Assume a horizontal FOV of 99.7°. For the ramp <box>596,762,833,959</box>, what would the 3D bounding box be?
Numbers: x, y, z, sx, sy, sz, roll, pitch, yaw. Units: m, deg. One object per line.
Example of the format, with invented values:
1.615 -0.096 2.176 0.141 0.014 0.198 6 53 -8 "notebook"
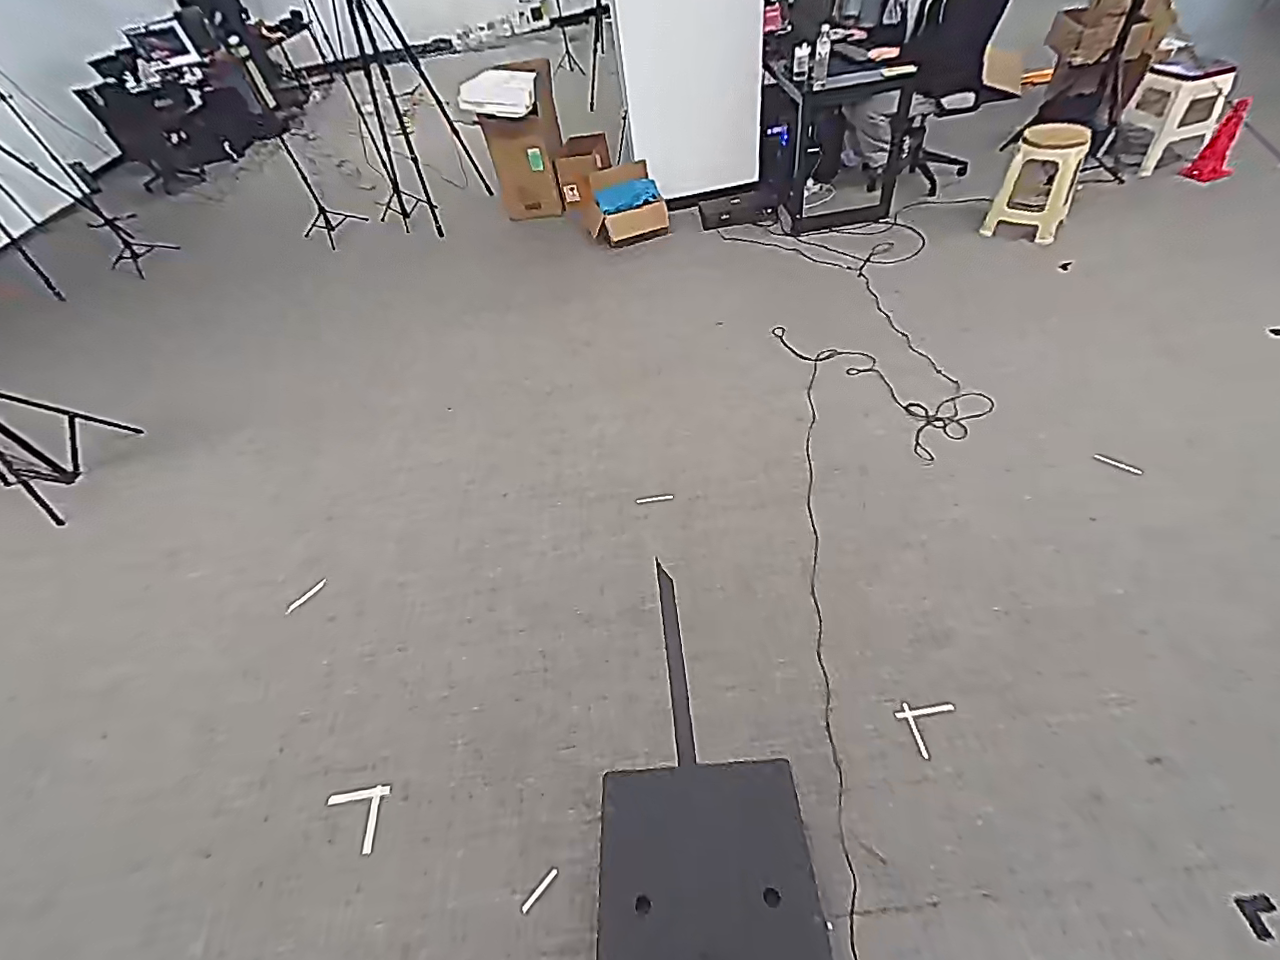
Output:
0.150 1.066 1.027 0.509 0.206 0.991 -9 47 4 "ramp"
